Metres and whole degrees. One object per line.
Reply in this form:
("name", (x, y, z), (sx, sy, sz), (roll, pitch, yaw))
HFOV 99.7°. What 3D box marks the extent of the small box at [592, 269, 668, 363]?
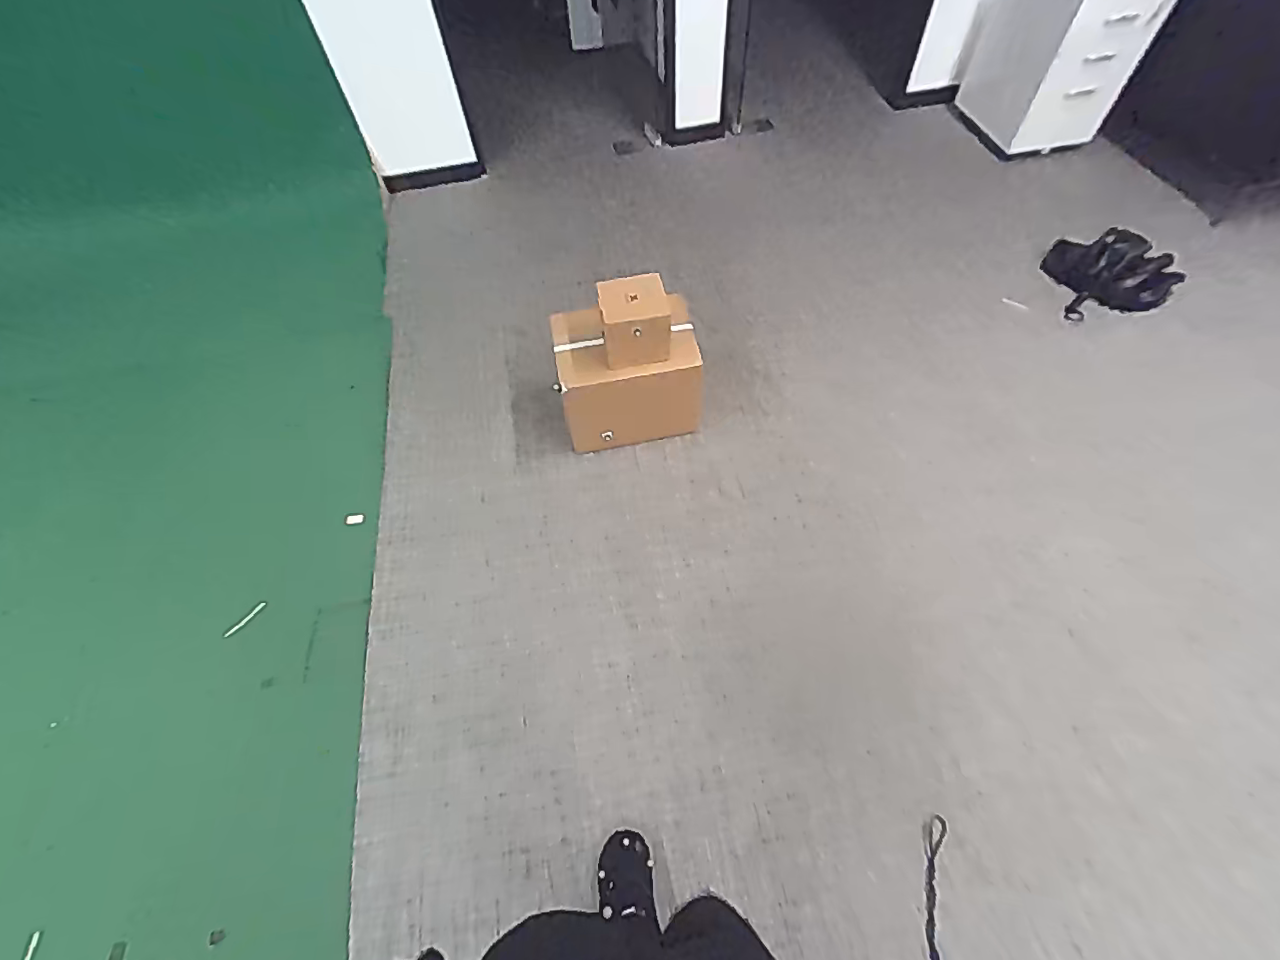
("small box", (-0.023, -0.438, 1.469), (0.179, 0.176, 0.168), (-11, 60, -4))
